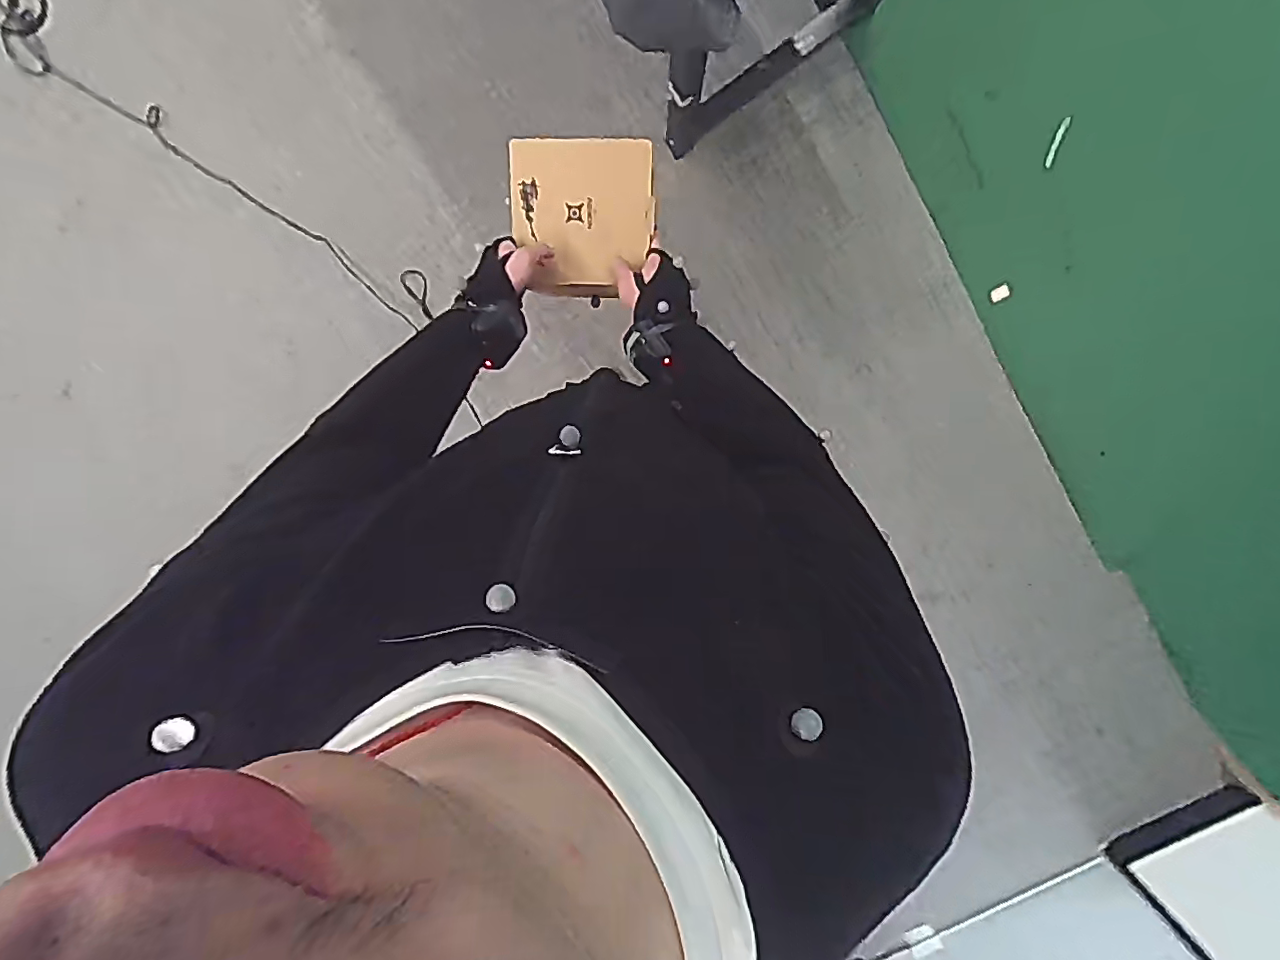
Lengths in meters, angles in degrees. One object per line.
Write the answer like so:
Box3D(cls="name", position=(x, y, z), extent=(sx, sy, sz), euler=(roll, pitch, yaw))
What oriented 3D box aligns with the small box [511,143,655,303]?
Box3D(cls="small box", position=(-0.071, -0.339, 0.741), extent=(0.179, 0.176, 0.168), euler=(2, 103, 1))
